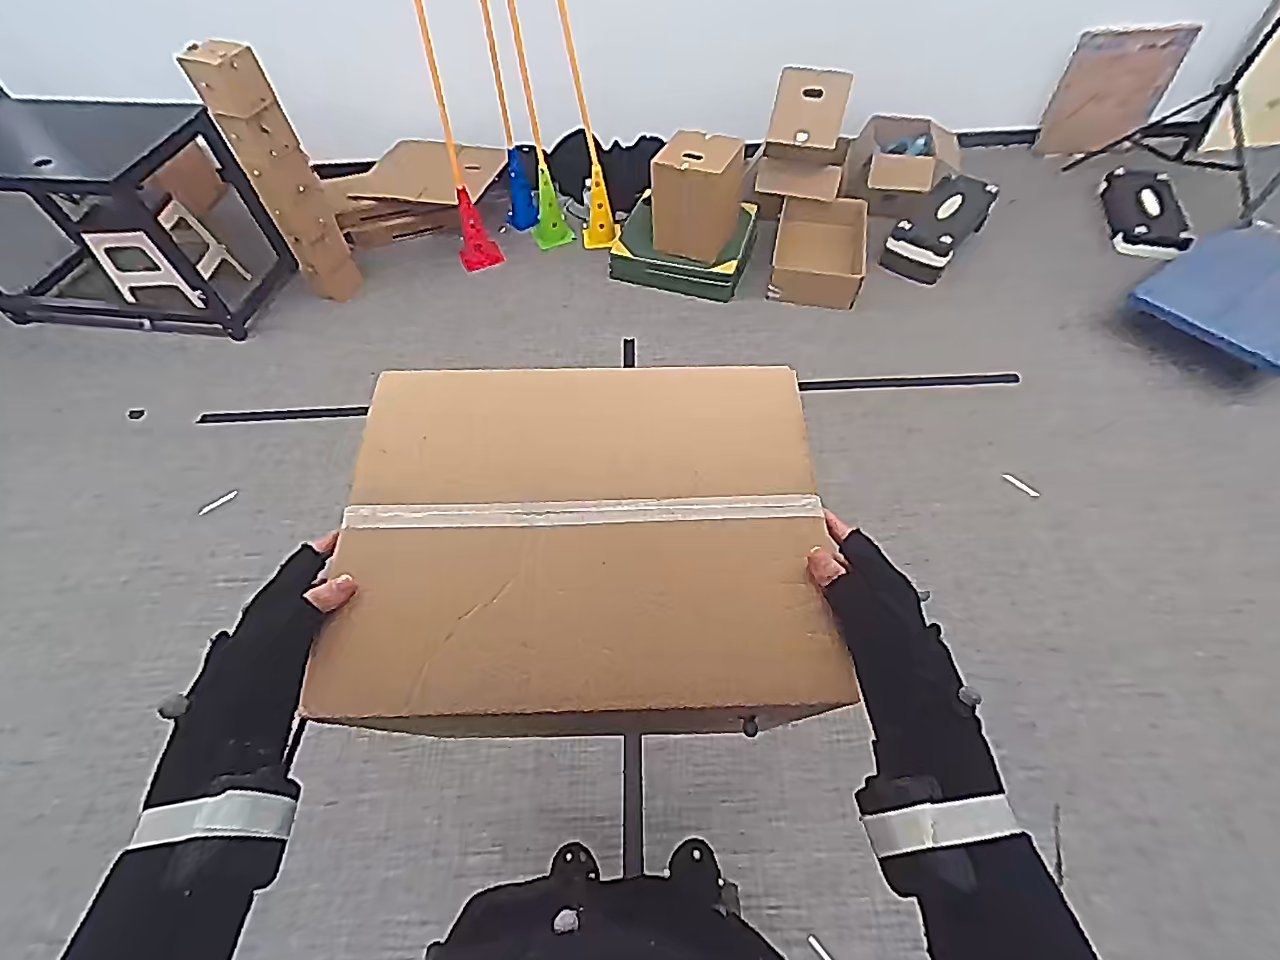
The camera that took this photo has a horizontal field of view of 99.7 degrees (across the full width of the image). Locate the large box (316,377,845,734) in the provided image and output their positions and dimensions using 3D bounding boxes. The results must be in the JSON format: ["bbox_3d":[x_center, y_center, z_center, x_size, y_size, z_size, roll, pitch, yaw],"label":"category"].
[{"bbox_3d":[-0.048,0.104,0.602,0.408,0.320,0.320,-1,62,-2],"label":"large box"}]

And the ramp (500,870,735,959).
[{"bbox_3d":[-0.035,1.320,0.985,0.509,0.206,0.991,-2,56,-2],"label":"ramp"}]
